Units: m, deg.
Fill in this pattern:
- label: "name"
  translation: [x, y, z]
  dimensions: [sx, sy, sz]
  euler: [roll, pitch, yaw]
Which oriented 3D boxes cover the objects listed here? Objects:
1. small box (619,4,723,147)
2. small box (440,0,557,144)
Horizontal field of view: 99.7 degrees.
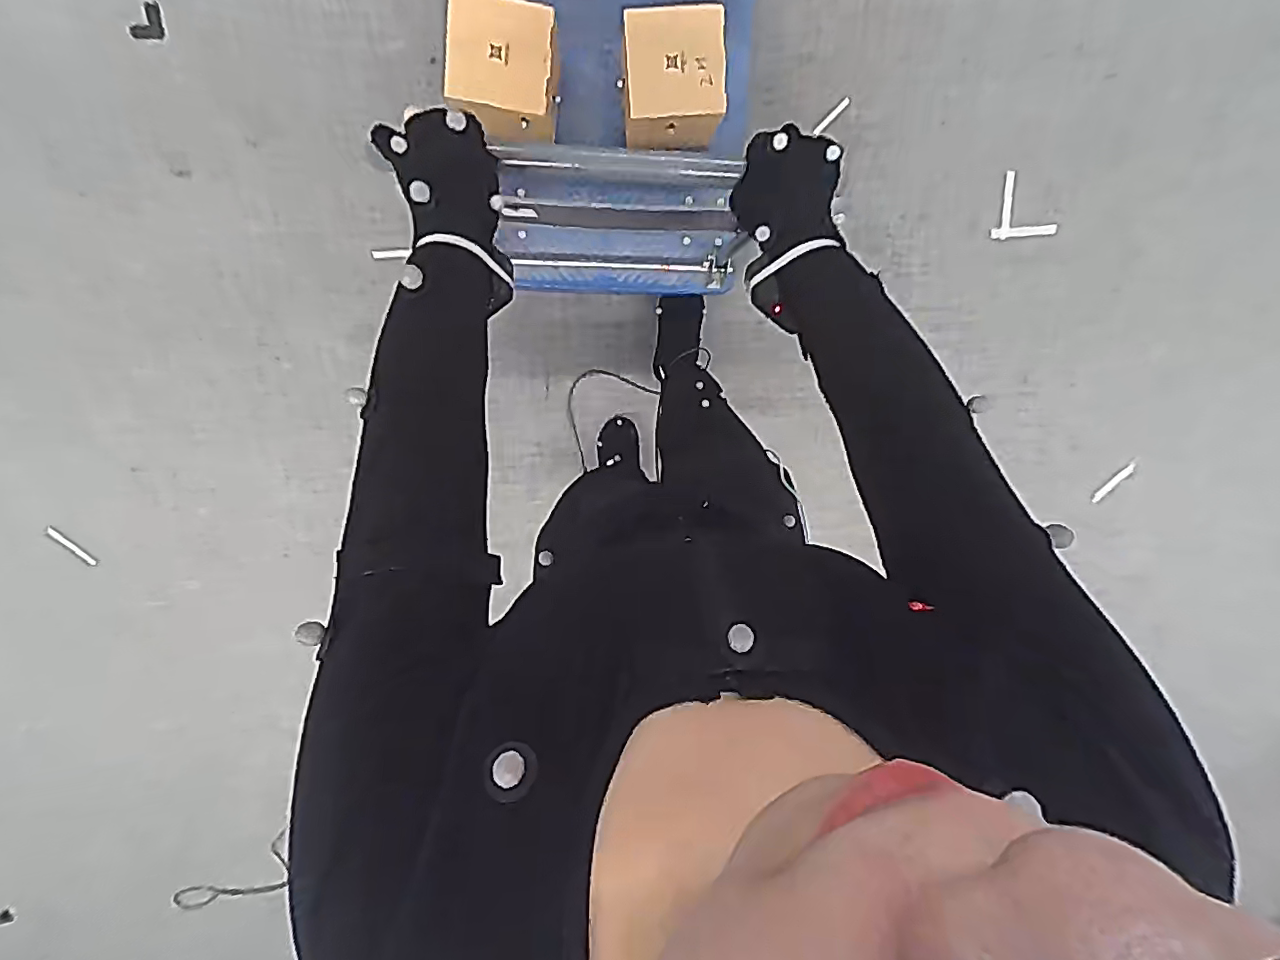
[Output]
- label: "small box"
  translation: [0.053, -0.742, 1.011]
  dimensions: [0.179, 0.176, 0.168]
  euler: [-5, 105, -2]
- label: "small box"
  translation: [-0.251, -0.744, 0.990]
  dimensions: [0.179, 0.176, 0.168]
  euler: [6, 104, -7]
